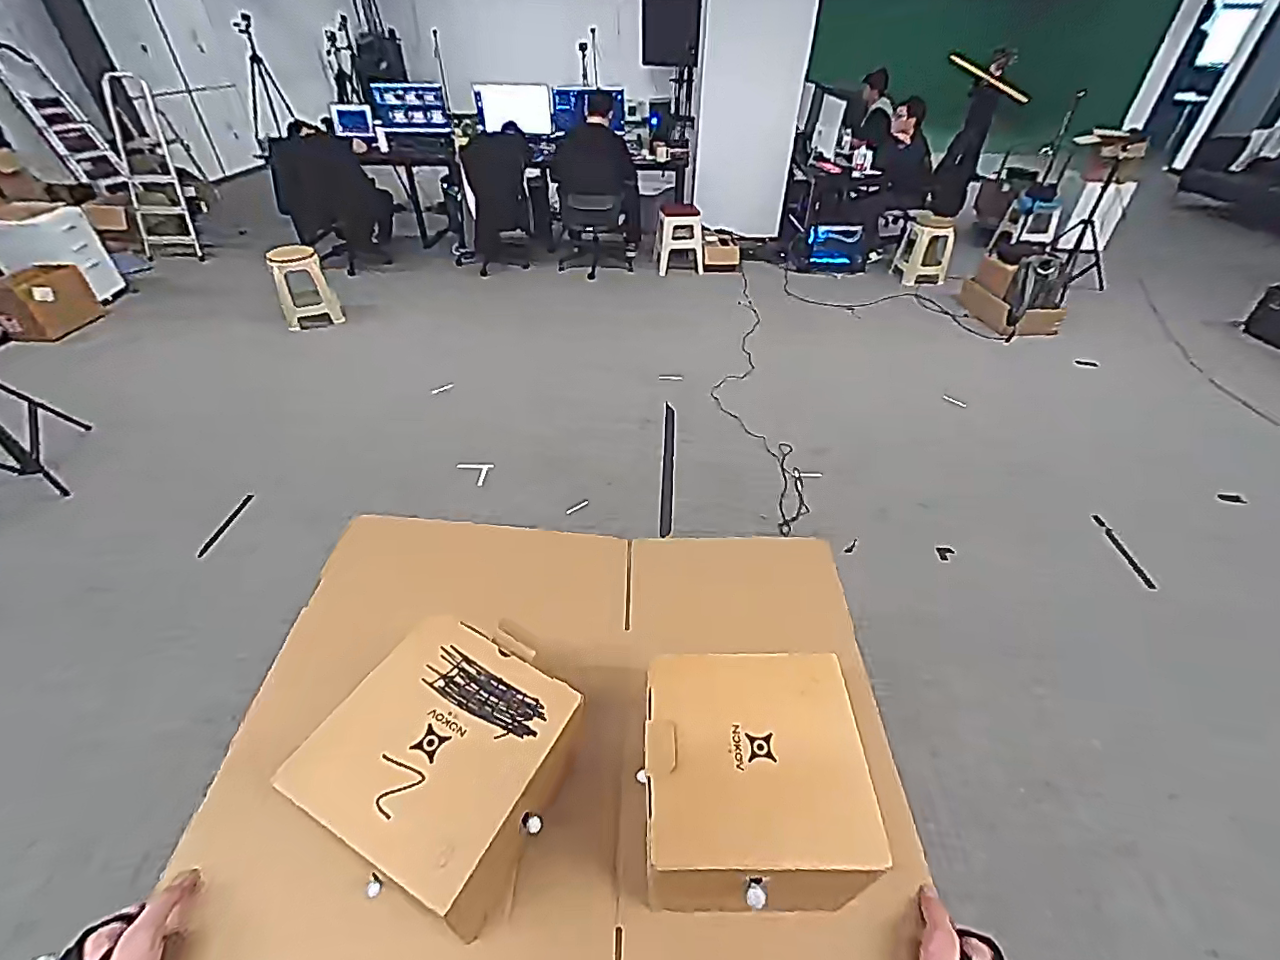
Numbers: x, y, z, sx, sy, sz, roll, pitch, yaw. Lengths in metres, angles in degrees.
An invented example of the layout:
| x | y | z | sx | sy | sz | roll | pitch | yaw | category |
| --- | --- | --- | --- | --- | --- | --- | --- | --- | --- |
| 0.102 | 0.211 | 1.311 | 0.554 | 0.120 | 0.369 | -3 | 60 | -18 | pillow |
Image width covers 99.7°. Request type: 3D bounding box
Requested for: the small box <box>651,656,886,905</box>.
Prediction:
| x | y | z | sx | sy | sz | roll | pitch | yaw | category |
| --- | --- | --- | --- | --- | --- | --- | --- | --- | --- |
| 0.099 | 0.283 | 0.510 | 0.179 | 0.176 | 0.168 | -2 | 43 | 2 | small box |
